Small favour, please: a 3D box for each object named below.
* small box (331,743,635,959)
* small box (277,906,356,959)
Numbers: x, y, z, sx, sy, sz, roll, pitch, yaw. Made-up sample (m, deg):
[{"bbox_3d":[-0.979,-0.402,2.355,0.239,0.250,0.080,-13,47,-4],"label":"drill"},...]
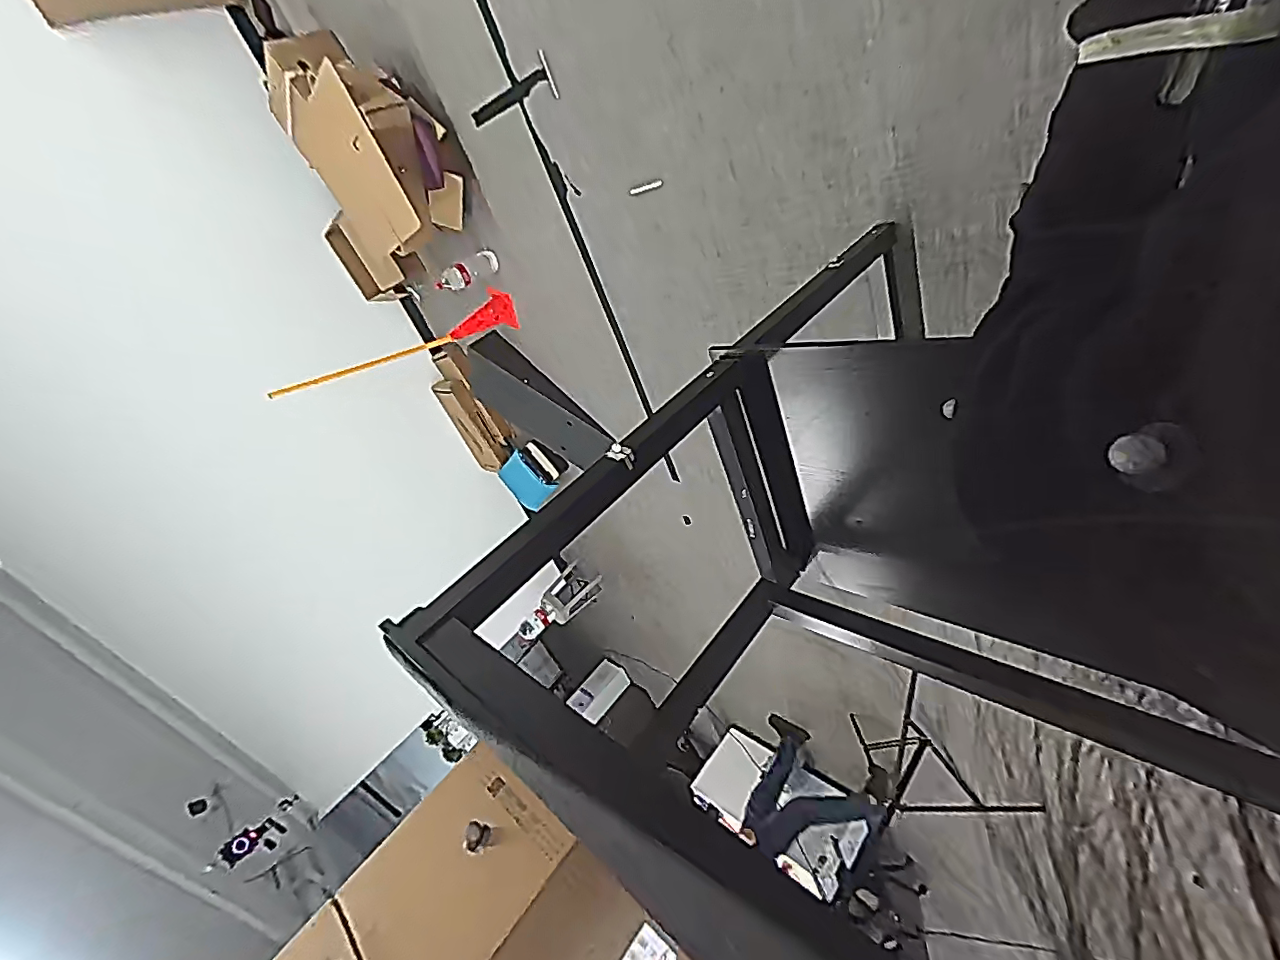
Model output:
[{"bbox_3d":[-0.132,0.388,0.496,0.168,0.176,0.179,13,137,44],"label":"small box"},{"bbox_3d":[-0.238,0.487,0.419,0.168,0.176,0.179,15,138,44],"label":"small box"}]
